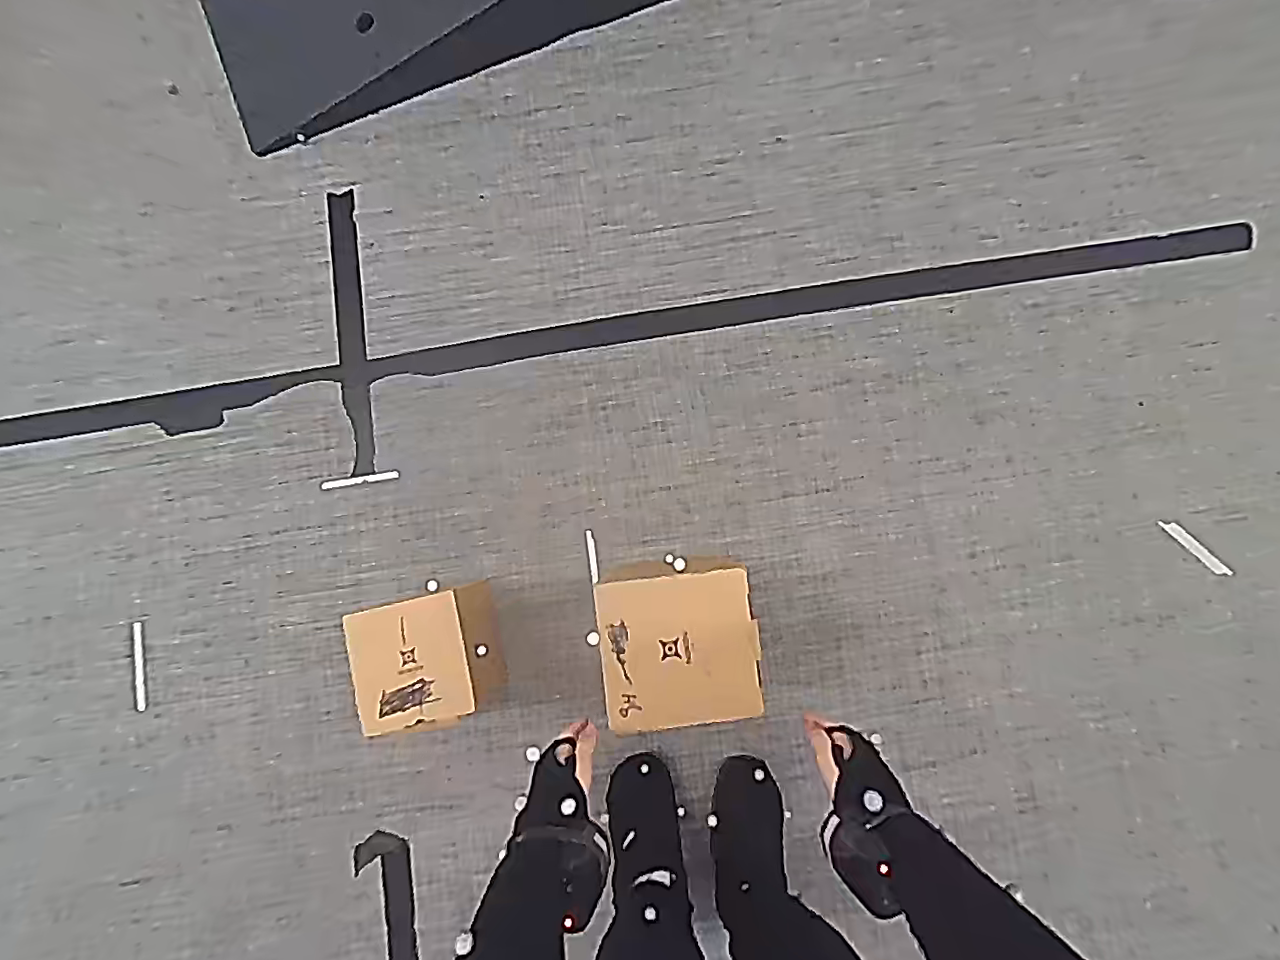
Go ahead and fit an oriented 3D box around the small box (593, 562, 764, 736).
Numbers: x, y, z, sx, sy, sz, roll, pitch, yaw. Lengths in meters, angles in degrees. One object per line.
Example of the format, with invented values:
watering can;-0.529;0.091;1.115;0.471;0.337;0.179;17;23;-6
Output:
small box;0.041;0.194;0.670;0.179;0.176;0.168;-6;84;0

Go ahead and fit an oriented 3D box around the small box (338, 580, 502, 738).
small box;-0.326;0.263;0.834;0.168;0.176;0.179;-13;84;0
